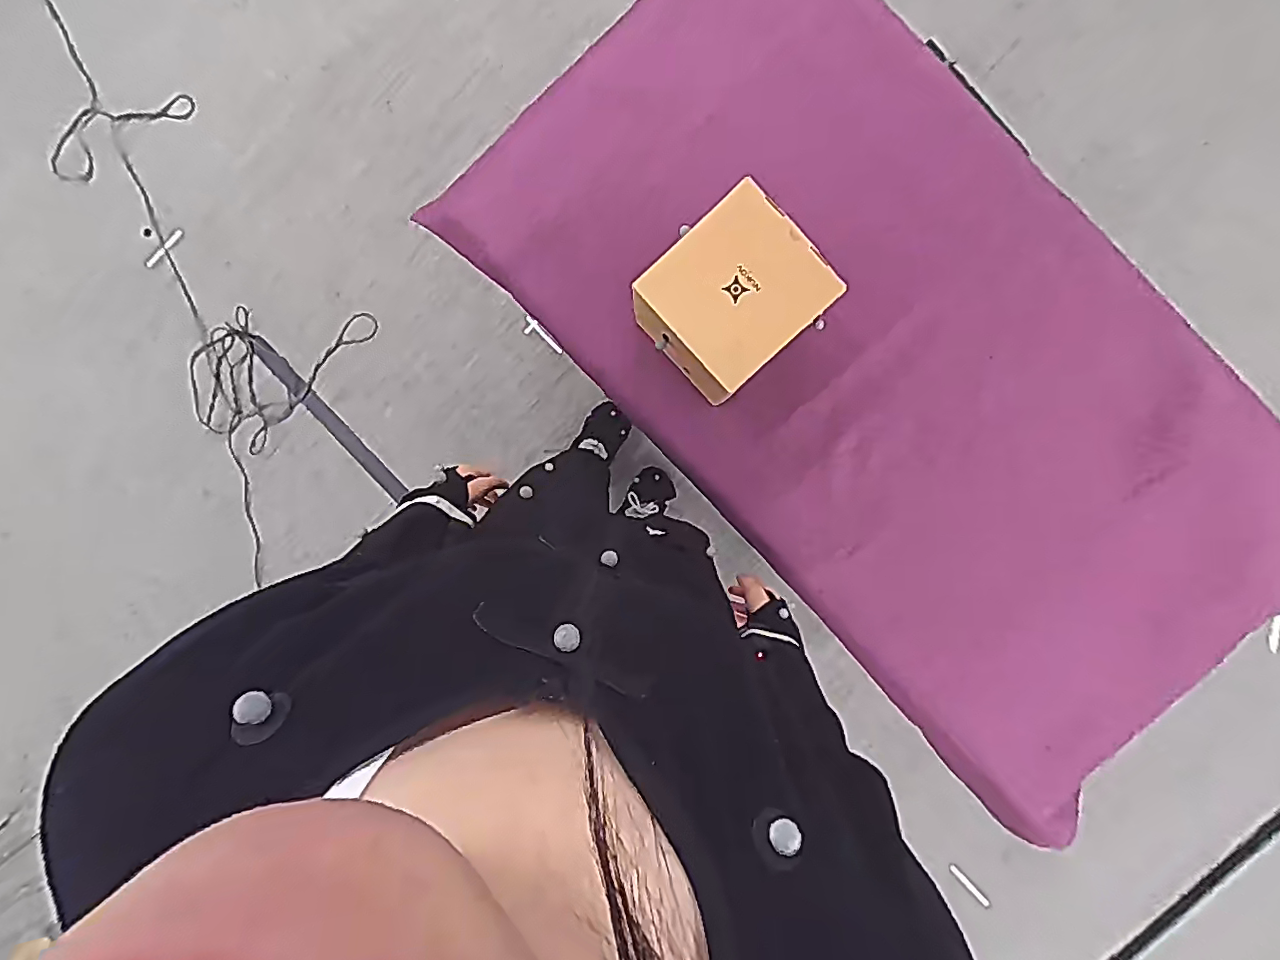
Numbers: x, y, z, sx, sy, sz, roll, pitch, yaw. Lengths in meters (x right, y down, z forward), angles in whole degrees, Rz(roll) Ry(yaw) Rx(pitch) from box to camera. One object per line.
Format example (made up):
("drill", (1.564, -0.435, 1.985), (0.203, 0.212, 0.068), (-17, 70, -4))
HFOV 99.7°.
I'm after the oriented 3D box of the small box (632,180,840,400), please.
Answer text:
("small box", (0.109, -0.219, 0.680), (0.179, 0.176, 0.168), (-43, 91, 2))
